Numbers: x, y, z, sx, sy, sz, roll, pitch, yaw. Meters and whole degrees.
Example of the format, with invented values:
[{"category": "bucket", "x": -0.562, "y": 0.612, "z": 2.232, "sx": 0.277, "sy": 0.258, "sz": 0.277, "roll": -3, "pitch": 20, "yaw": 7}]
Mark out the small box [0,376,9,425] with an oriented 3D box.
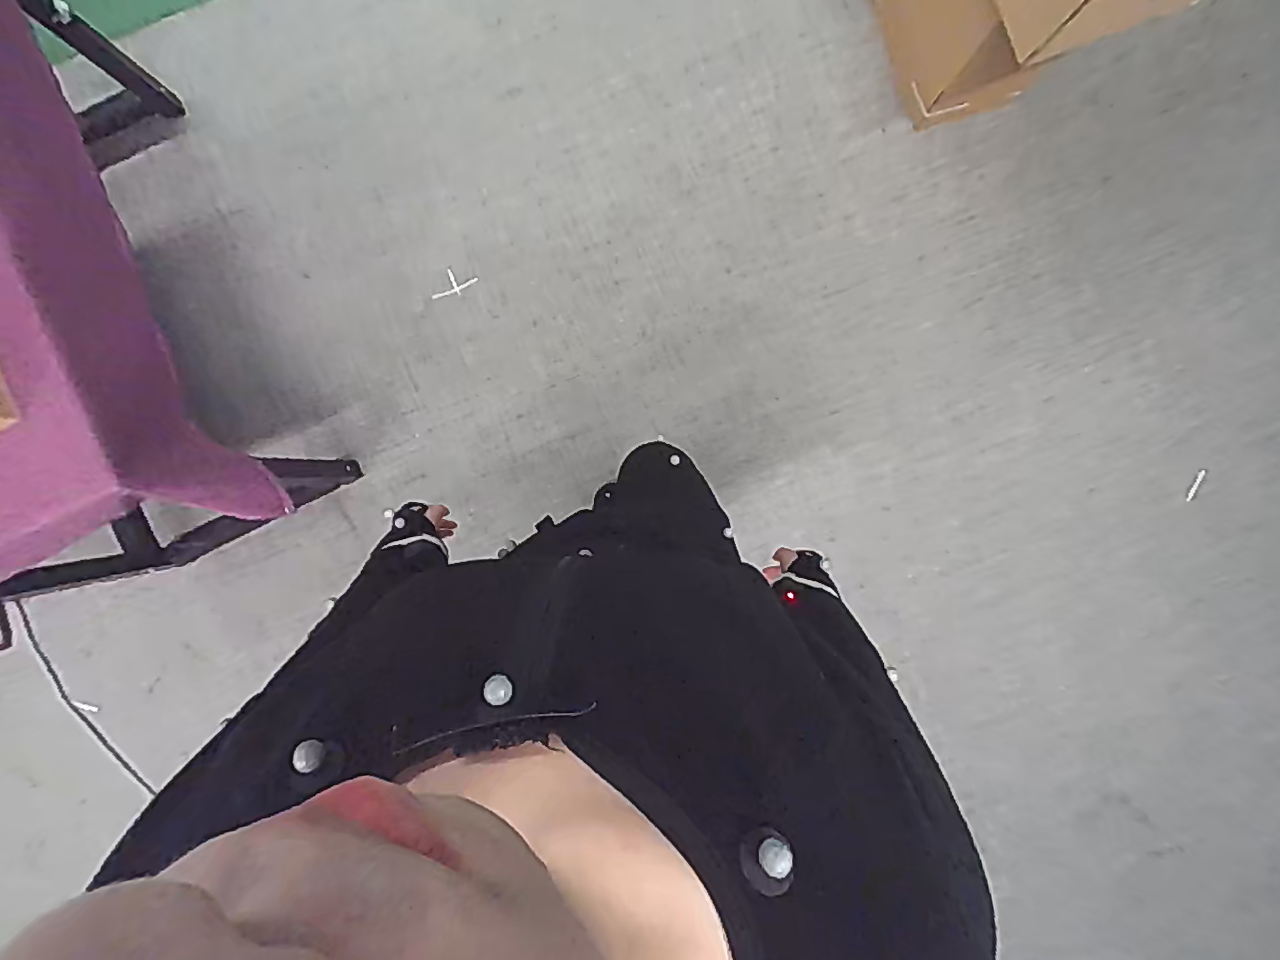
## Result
[{"category": "small box", "x": -0.991, "y": -0.132, "z": 0.694, "sx": 0.179, "sy": 0.176, "sz": 0.168, "roll": -23, "pitch": 90, "yaw": 1}]
